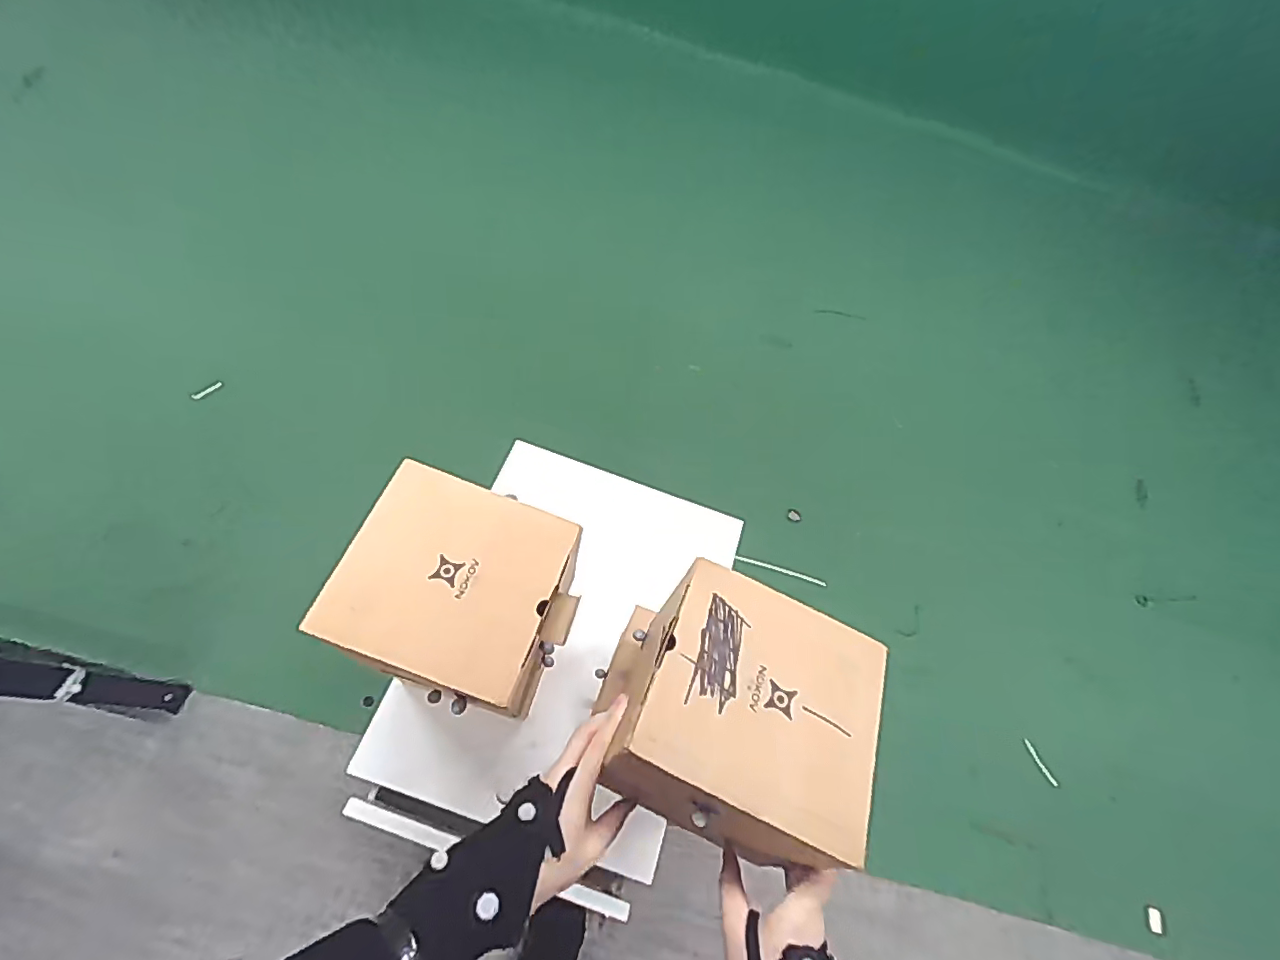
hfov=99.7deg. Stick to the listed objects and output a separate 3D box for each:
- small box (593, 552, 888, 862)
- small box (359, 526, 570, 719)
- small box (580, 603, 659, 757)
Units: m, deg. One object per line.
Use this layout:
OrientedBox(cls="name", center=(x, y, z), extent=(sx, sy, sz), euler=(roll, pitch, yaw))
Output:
OrientedBox(cls="small box", center=(0.076, 0.197, 0.460), extent=(0.179, 0.176, 0.168), euler=(27, 53, 2))
OrientedBox(cls="small box", center=(-0.197, 0.182, 0.660), extent=(0.179, 0.176, 0.168), euler=(19, 62, 0))
OrientedBox(cls="small box", center=(0.036, 0.273, 0.652), extent=(0.179, 0.176, 0.168), euler=(22, 63, 2))
